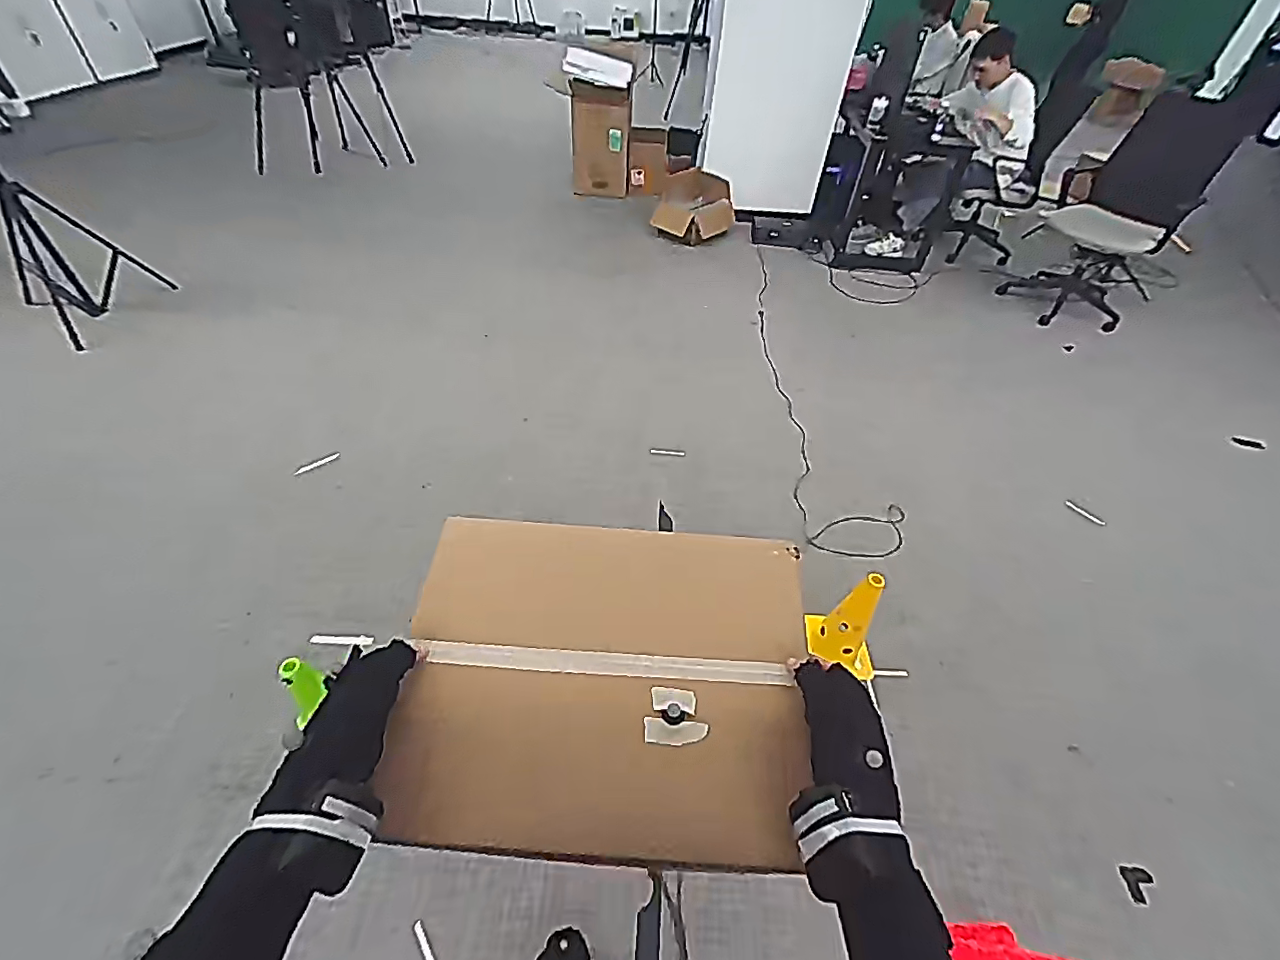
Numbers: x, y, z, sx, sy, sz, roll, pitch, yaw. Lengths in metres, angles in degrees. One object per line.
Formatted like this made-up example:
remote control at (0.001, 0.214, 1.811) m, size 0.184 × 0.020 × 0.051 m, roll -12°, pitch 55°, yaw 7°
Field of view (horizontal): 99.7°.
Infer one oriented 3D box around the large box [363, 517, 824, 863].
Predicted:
large box at (-0.039, 0.267, 0.664) m, size 0.408 × 0.320 × 0.320 m, roll 5°, pitch 54°, yaw 0°

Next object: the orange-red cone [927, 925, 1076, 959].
orange-red cone at (0.713, 0.907, 0.975) m, size 0.198 × 0.360 × 0.199 m, roll 3°, pitch 44°, yaw -2°

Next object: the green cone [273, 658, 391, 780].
green cone at (-0.745, 0.507, 1.258) m, size 0.202 × 0.368 × 0.200 m, roll -25°, pitch 52°, yaw -24°
